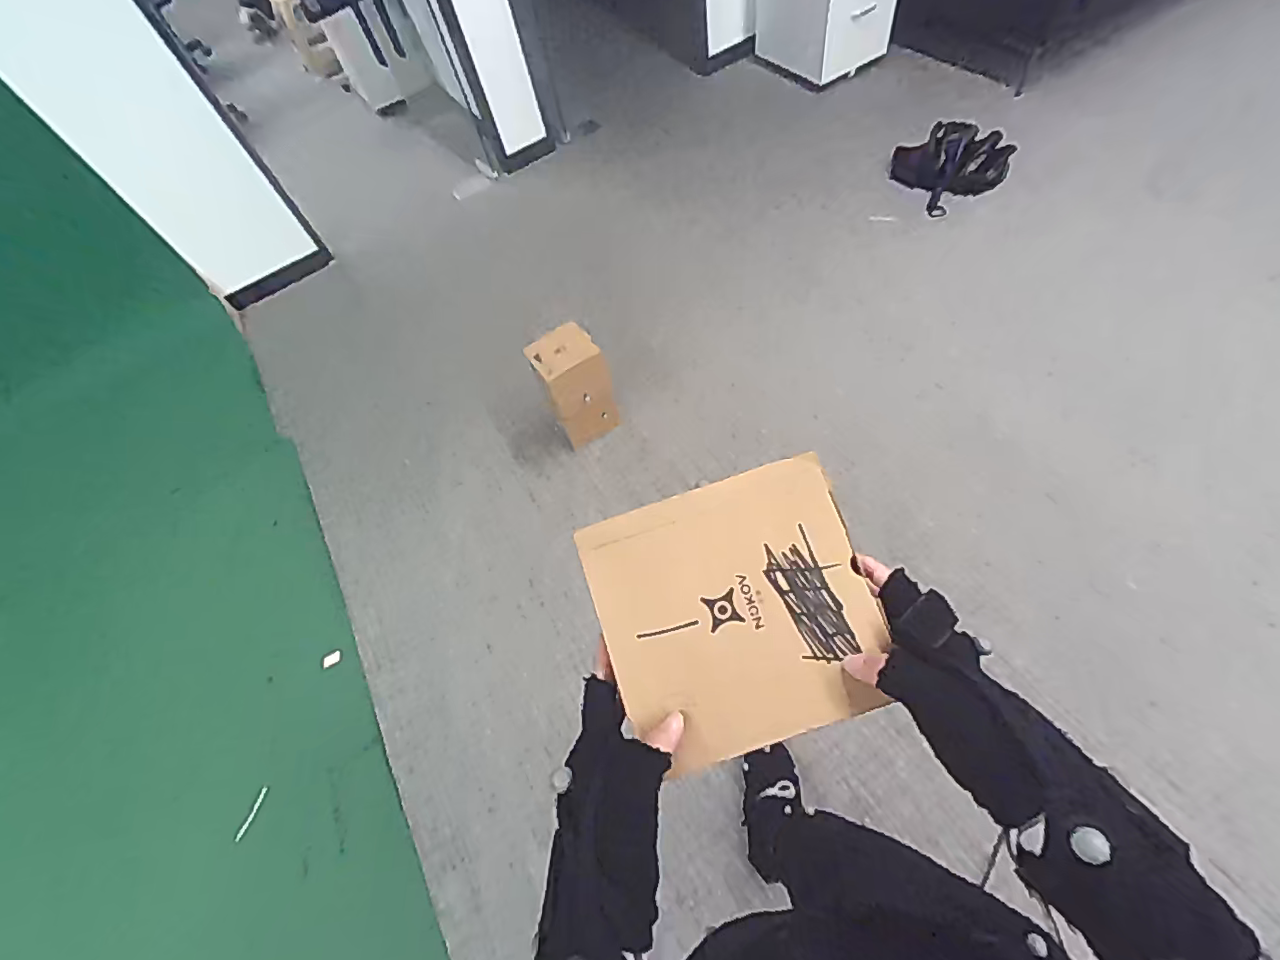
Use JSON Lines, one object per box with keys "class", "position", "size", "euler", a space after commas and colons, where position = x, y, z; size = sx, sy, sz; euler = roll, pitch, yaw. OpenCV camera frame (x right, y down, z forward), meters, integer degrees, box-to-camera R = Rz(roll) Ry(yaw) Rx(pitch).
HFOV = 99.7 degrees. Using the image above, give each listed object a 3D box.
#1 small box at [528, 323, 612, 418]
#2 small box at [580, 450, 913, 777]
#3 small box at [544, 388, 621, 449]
{"class": "small box", "position": [-0.196, -0.317, 1.581], "size": [0.179, 0.176, 0.168], "euler": [-32, 58, -9]}
{"class": "small box", "position": [0.069, 0.098, 0.433], "size": [0.179, 0.176, 0.168], "euler": [-22, 77, -2]}
{"class": "small box", "position": [-0.175, -0.232, 1.720], "size": [0.179, 0.176, 0.168], "euler": [-33, 58, -7]}
